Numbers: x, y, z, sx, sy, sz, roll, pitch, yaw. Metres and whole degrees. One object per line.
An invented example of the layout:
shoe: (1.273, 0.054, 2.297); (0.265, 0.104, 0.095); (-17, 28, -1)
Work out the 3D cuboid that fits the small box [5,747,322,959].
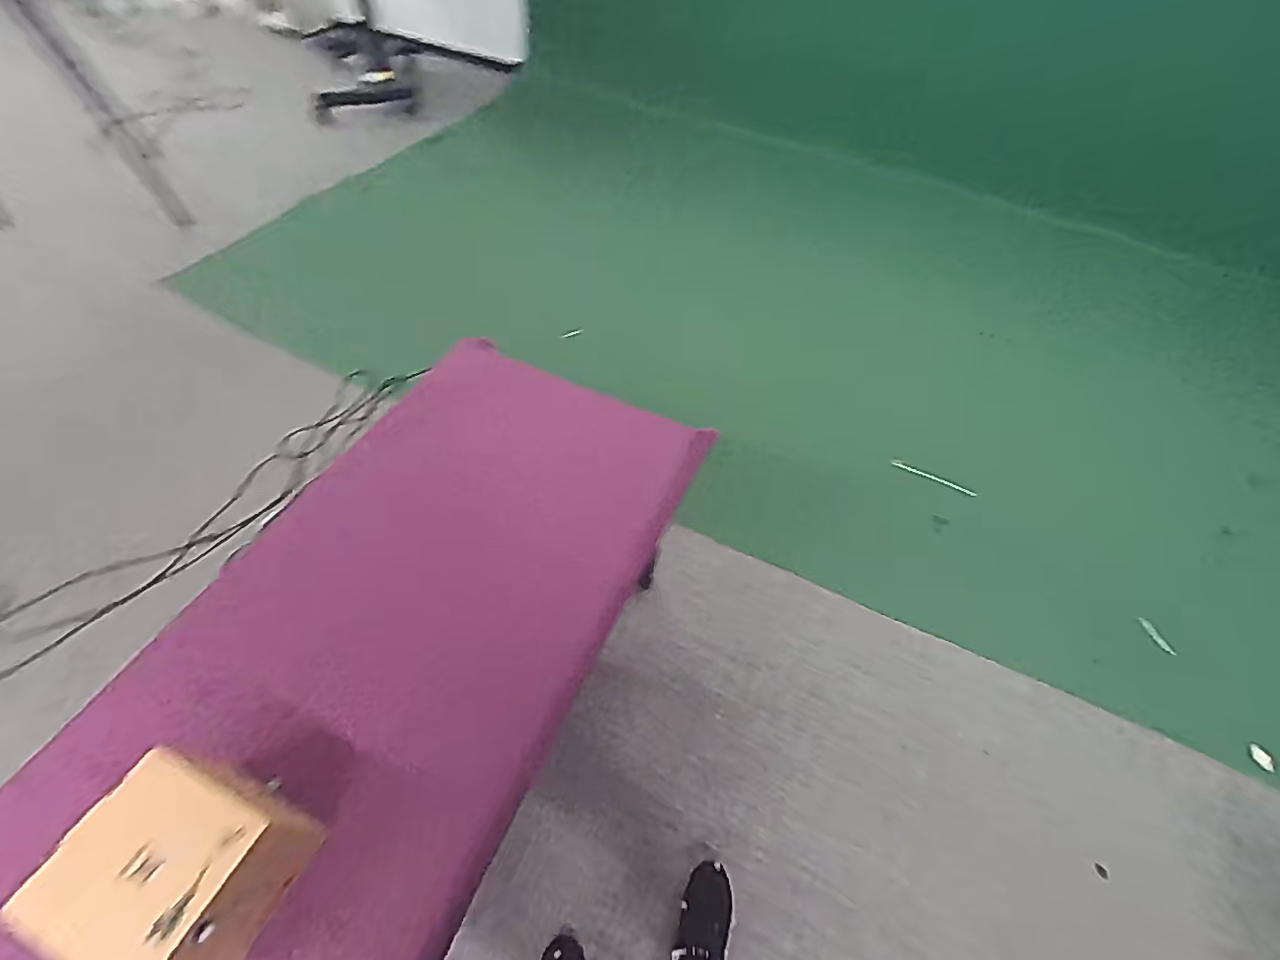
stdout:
small box: (-0.515, 0.441, 0.617); (0.179, 0.176, 0.168); (23, 55, 12)
